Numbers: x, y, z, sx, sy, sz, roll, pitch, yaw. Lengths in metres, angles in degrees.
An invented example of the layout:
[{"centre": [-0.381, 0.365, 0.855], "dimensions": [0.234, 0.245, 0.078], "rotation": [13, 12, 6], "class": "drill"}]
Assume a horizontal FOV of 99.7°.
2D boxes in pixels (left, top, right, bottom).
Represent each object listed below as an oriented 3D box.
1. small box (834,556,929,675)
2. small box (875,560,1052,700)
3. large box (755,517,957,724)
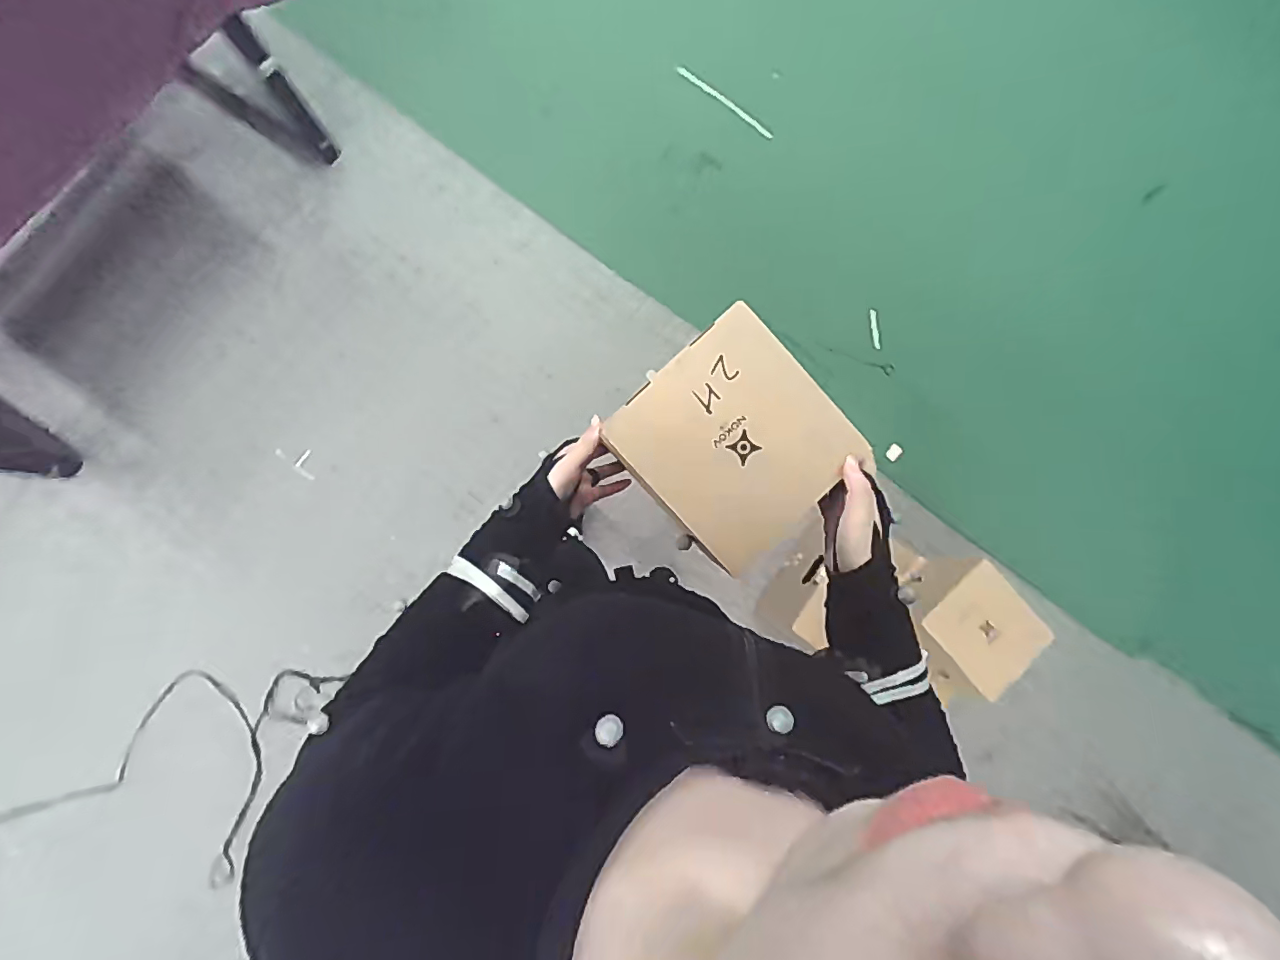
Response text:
[{"centre": [0.552, 0.273, 1.144], "dimensions": [0.168, 0.176, 0.179], "rotation": [-43, 88, -7], "class": "small box"}, {"centre": [0.574, 0.257, 0.983], "dimensions": [0.168, 0.176, 0.179], "rotation": [-39, 87, -8], "class": "small box"}, {"centre": [0.574, 0.333, 1.384], "dimensions": [0.408, 0.320, 0.320], "rotation": [36, 83, -1], "class": "large box"}]
